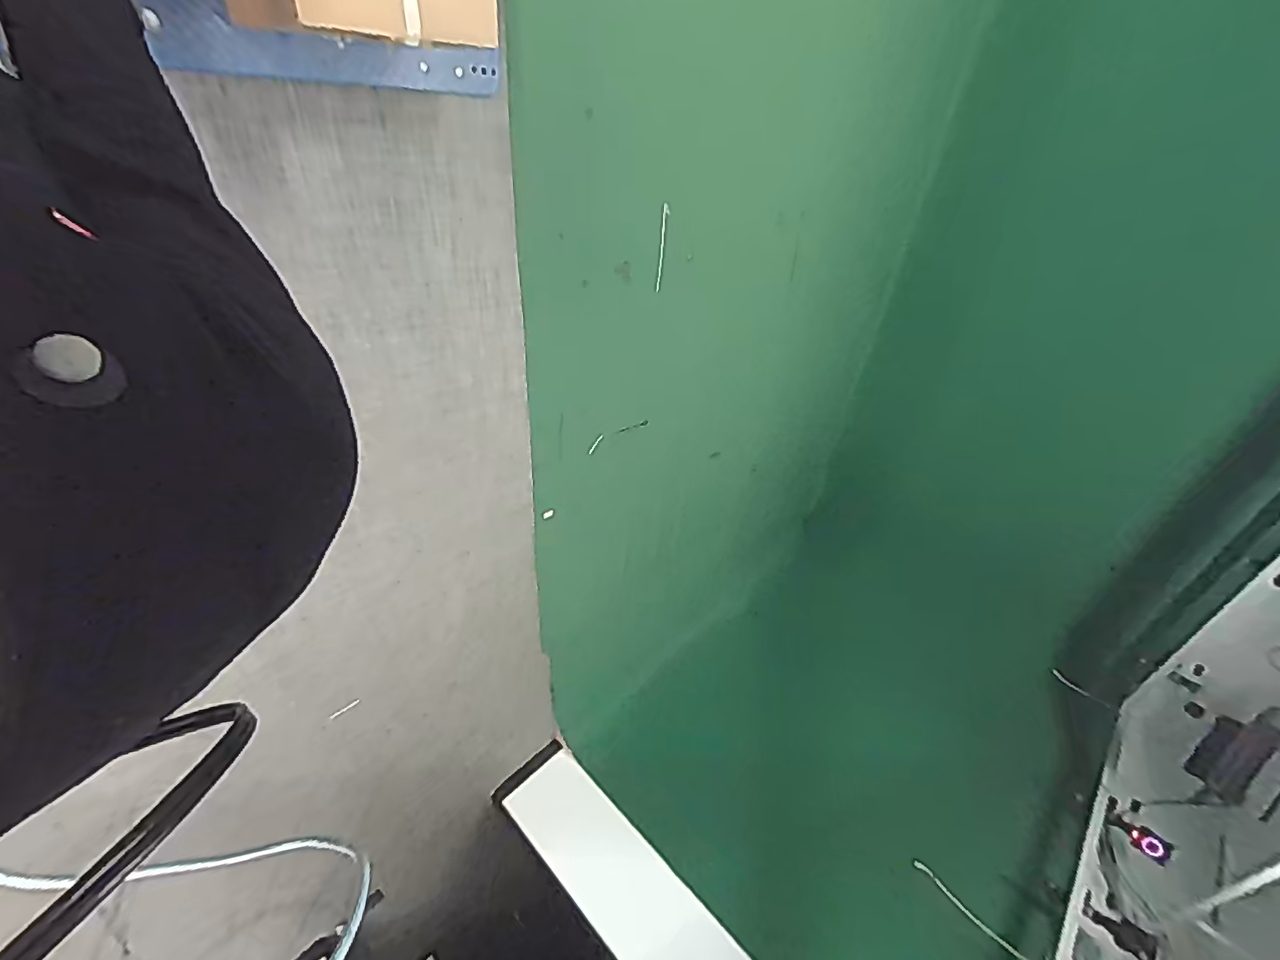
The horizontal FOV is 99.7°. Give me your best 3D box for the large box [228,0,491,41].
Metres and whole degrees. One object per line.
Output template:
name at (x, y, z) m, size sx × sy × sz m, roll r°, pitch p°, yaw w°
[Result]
large box at (-0.452, -0.906, 0.786) m, size 0.320 × 0.320 × 0.408 m, roll -29°, pitch 137°, yaw -38°
